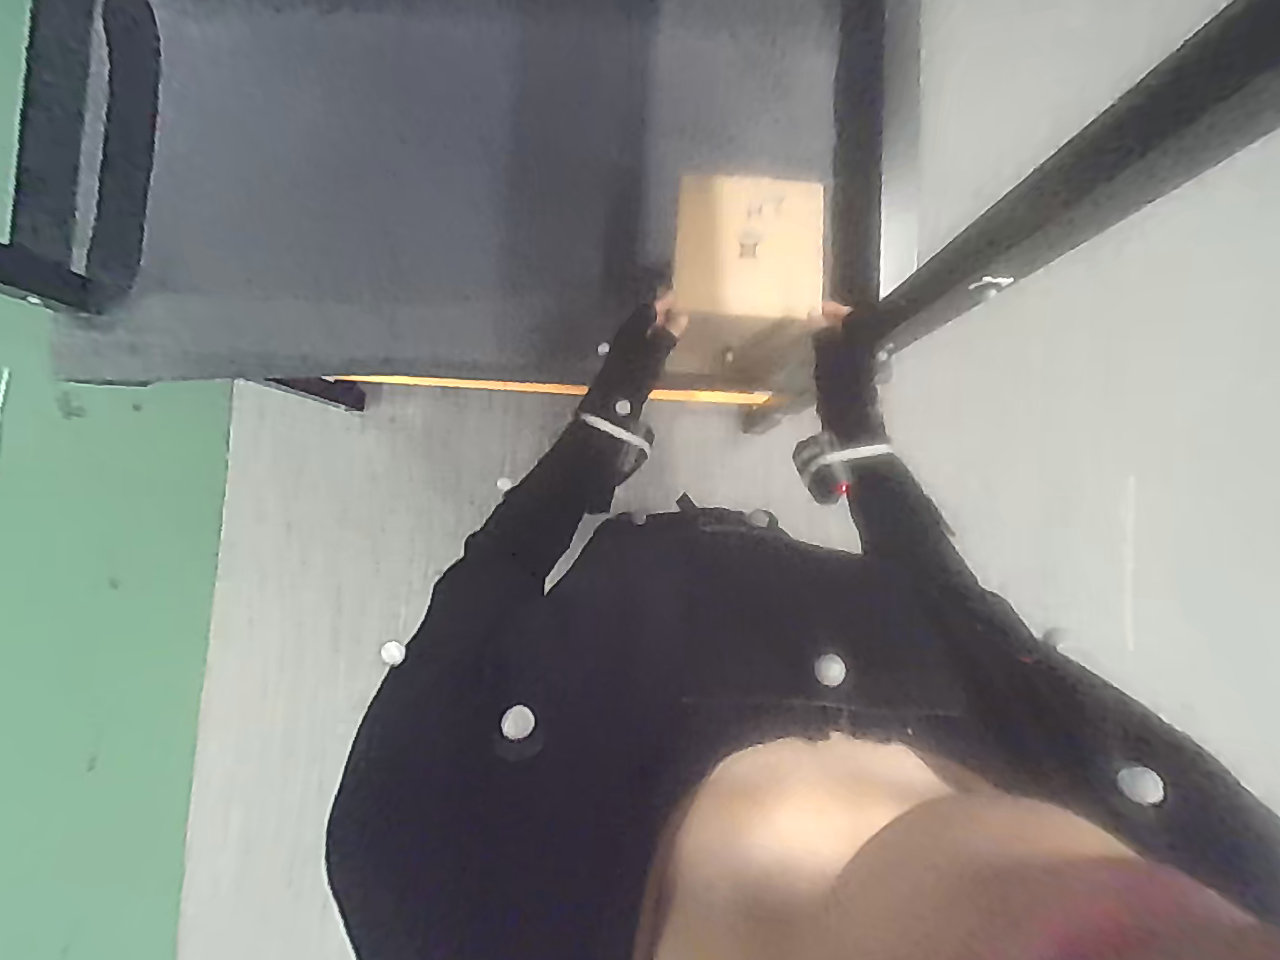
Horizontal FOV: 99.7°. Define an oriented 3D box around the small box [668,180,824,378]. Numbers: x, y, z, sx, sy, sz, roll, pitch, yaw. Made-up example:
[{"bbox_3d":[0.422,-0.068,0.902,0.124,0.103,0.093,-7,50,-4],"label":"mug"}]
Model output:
[{"bbox_3d":[0.125,-0.242,0.688,0.168,0.176,0.179,5,78,1],"label":"small box"}]
